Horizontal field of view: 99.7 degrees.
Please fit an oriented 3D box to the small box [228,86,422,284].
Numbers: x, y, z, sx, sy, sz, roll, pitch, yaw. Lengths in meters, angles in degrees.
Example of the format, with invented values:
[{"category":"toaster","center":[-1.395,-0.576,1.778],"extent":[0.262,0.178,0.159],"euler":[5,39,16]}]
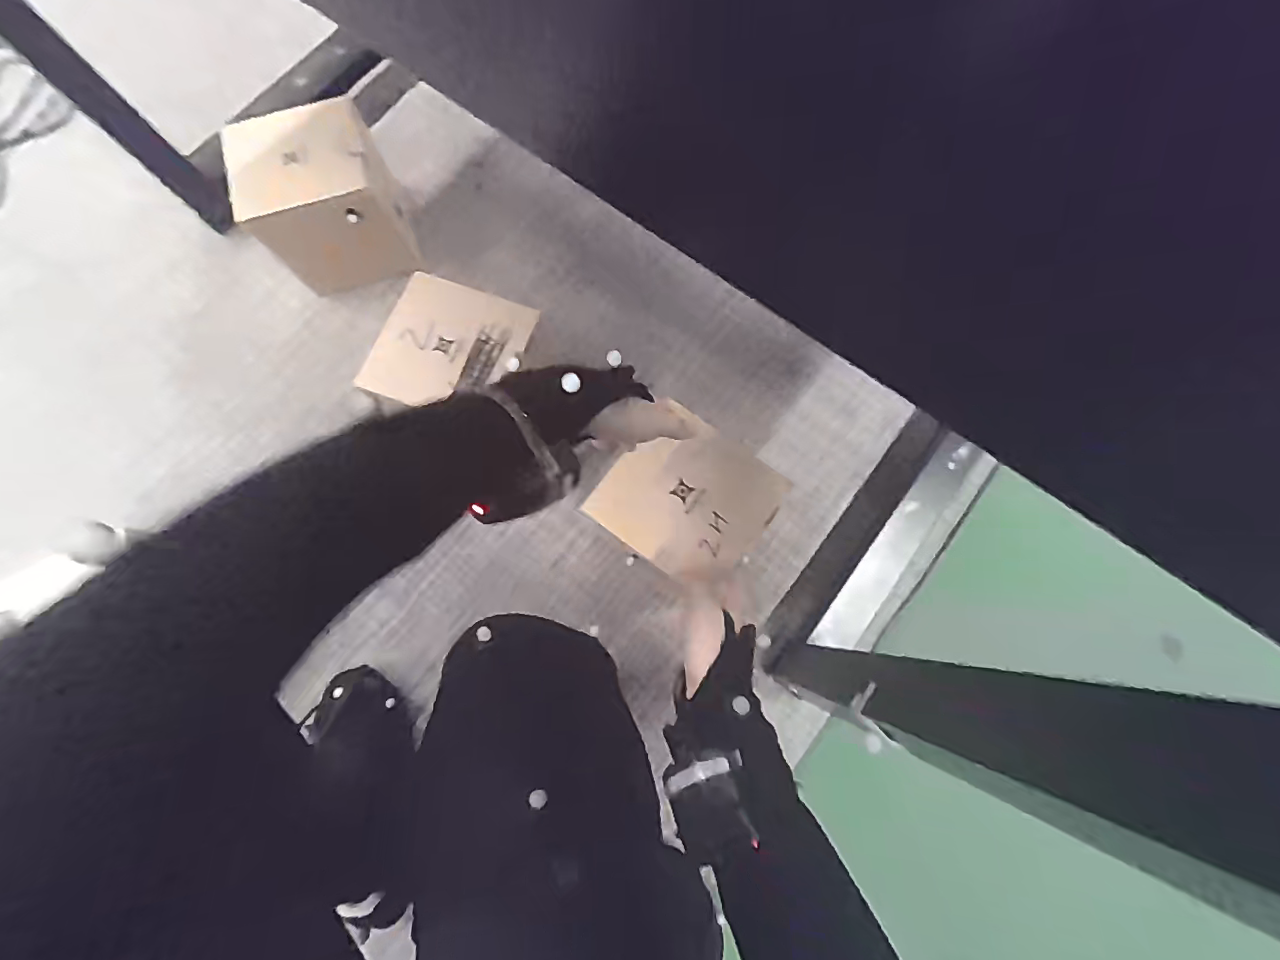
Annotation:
[{"category":"small box","center":[-0.449,-0.418,0.791],"extent":[0.179,0.176,0.168],"euler":[-18,76,-4]}]
